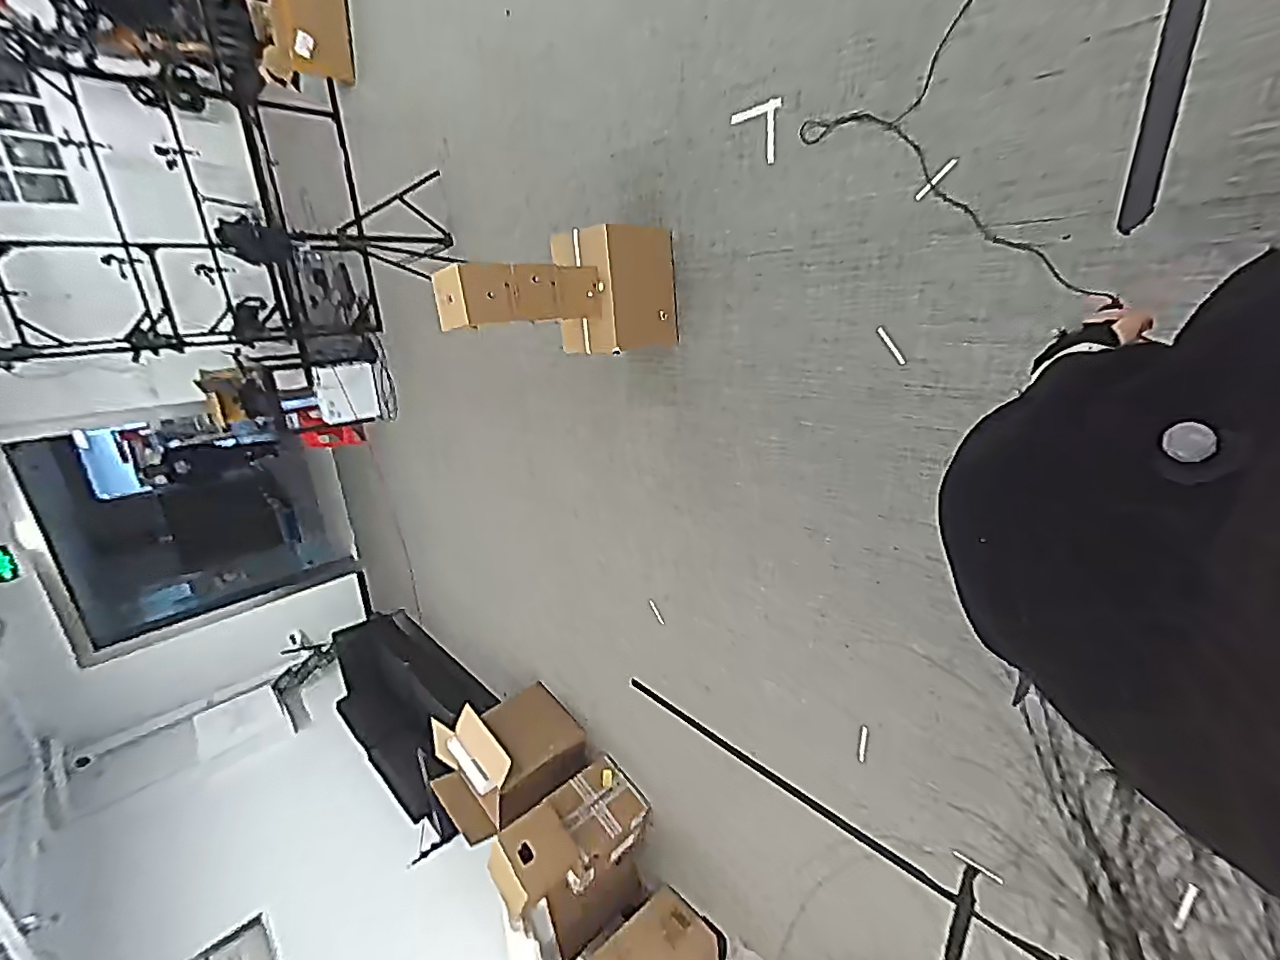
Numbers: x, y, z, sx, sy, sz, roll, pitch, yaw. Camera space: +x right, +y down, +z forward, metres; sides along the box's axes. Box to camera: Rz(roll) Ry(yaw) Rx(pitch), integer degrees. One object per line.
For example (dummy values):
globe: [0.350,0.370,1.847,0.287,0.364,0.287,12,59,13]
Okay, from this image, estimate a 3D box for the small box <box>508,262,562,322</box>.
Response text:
small box: [-0.359,-0.589,1.697,0.179,0.176,0.168,12,113,46]

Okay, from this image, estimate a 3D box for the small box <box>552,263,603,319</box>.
small box: [-0.246,-0.627,1.807,0.179,0.176,0.168,13,115,44]

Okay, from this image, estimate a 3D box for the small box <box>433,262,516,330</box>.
small box: [-0.479,-0.543,1.594,0.179,0.176,0.168,6,108,46]
